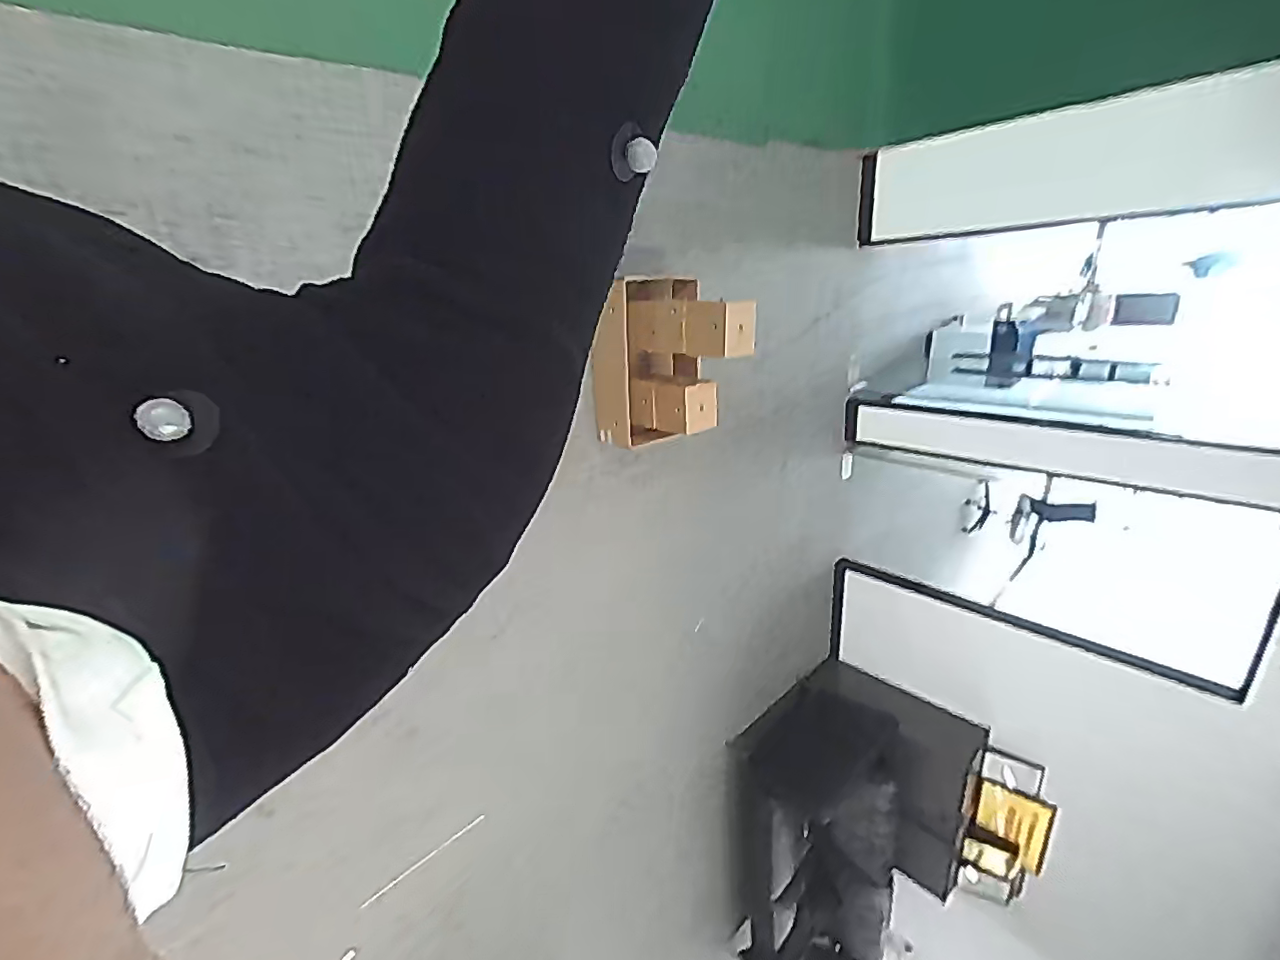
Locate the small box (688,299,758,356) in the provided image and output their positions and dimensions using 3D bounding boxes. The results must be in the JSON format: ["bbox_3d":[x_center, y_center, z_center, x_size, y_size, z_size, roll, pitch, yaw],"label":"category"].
[{"bbox_3d":[0.275,-0.511,1.803,0.168,0.176,0.179,-18,116,-40],"label":"small box"}]

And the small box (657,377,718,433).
[{"bbox_3d":[0.175,-0.285,2.014,0.168,0.176,0.179,-19,116,-37],"label":"small box"}]
